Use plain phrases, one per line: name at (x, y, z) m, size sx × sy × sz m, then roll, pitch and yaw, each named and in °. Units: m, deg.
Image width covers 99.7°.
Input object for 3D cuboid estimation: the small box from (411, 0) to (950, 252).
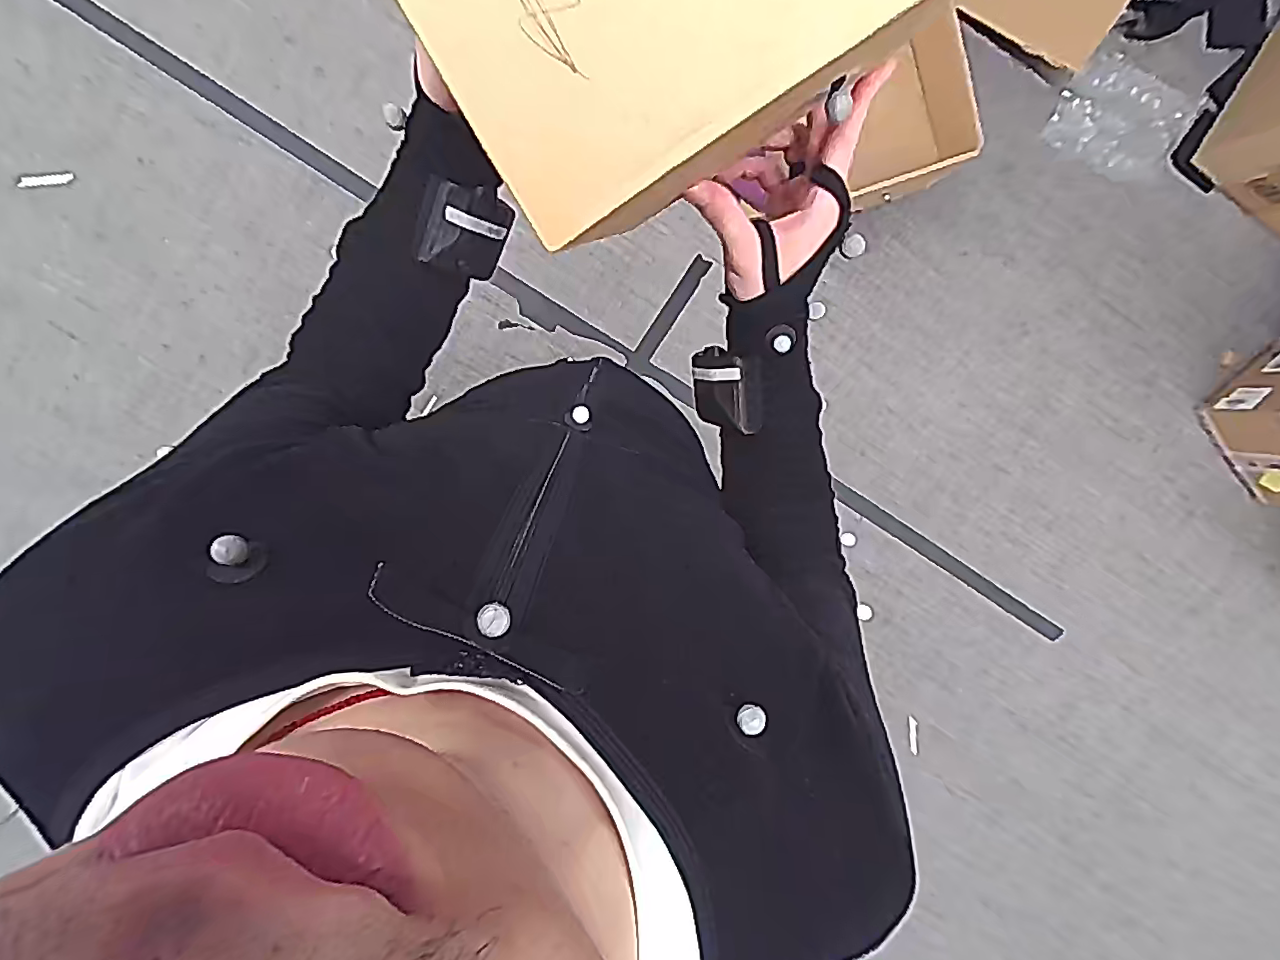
small box at (0.012, -0.234, 0.250) m, size 0.179 × 0.176 × 0.168 m, roll -24°, pitch 110°, yaw 24°
